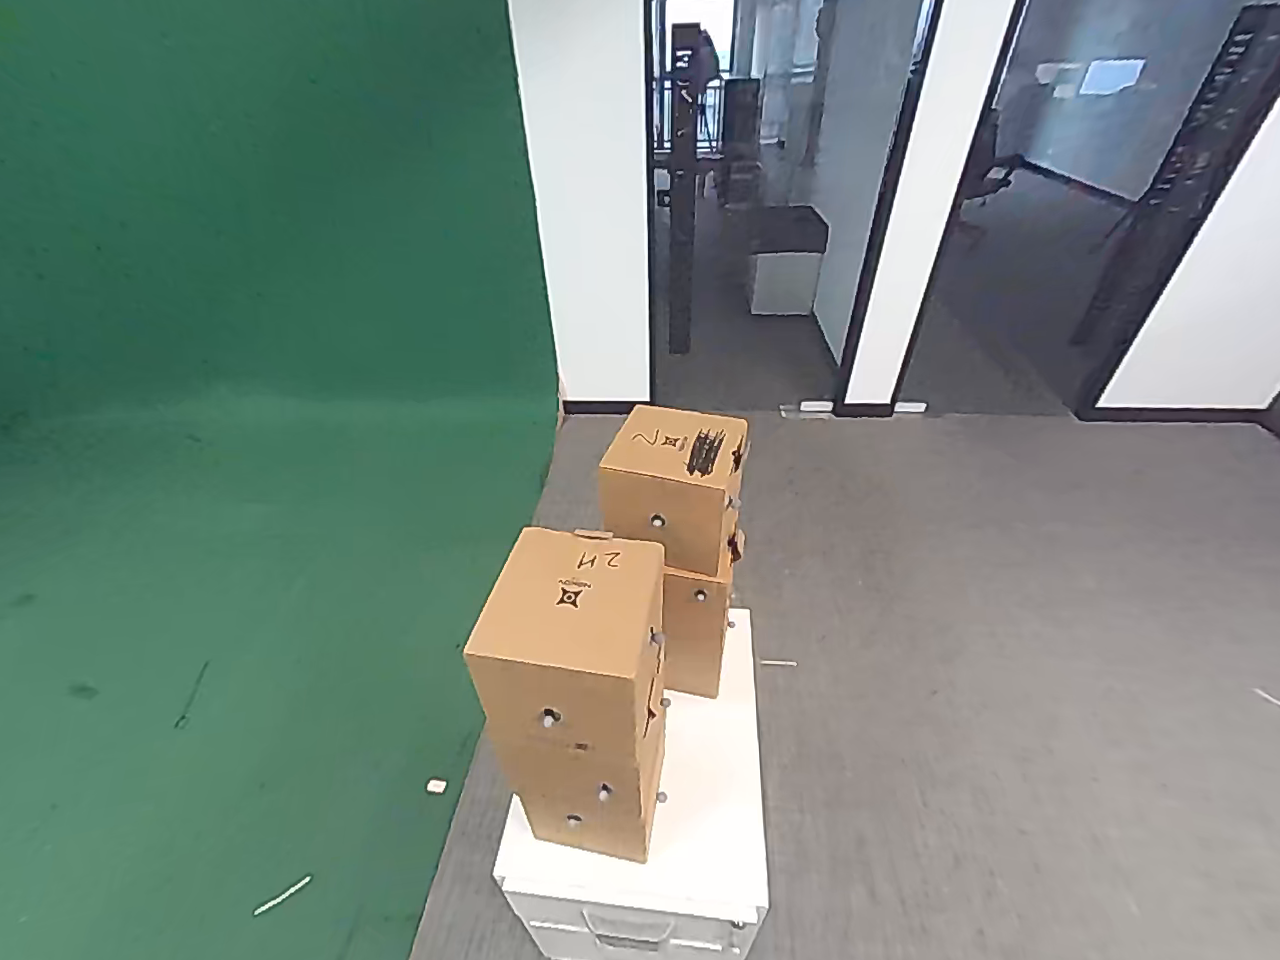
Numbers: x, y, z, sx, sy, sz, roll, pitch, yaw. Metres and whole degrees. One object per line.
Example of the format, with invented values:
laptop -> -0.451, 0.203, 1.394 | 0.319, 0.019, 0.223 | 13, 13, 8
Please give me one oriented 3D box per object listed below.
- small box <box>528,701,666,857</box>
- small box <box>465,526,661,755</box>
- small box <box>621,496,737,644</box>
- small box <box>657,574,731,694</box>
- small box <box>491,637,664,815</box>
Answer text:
small box -> -0.062, 0.434, 0.813 | 0.179, 0.176, 0.168 | 8, 39, 9
small box -> -0.070, 0.179, 0.609 | 0.168, 0.176, 0.179 | 7, 38, 8
small box -> 0.060, 0.150, 0.902 | 0.179, 0.176, 0.168 | 8, 40, 10
small box -> 0.069, 0.274, 1.007 | 0.179, 0.176, 0.168 | 7, 41, 11
small box -> -0.068, 0.309, 0.709 | 0.179, 0.176, 0.168 | 6, 38, 10
